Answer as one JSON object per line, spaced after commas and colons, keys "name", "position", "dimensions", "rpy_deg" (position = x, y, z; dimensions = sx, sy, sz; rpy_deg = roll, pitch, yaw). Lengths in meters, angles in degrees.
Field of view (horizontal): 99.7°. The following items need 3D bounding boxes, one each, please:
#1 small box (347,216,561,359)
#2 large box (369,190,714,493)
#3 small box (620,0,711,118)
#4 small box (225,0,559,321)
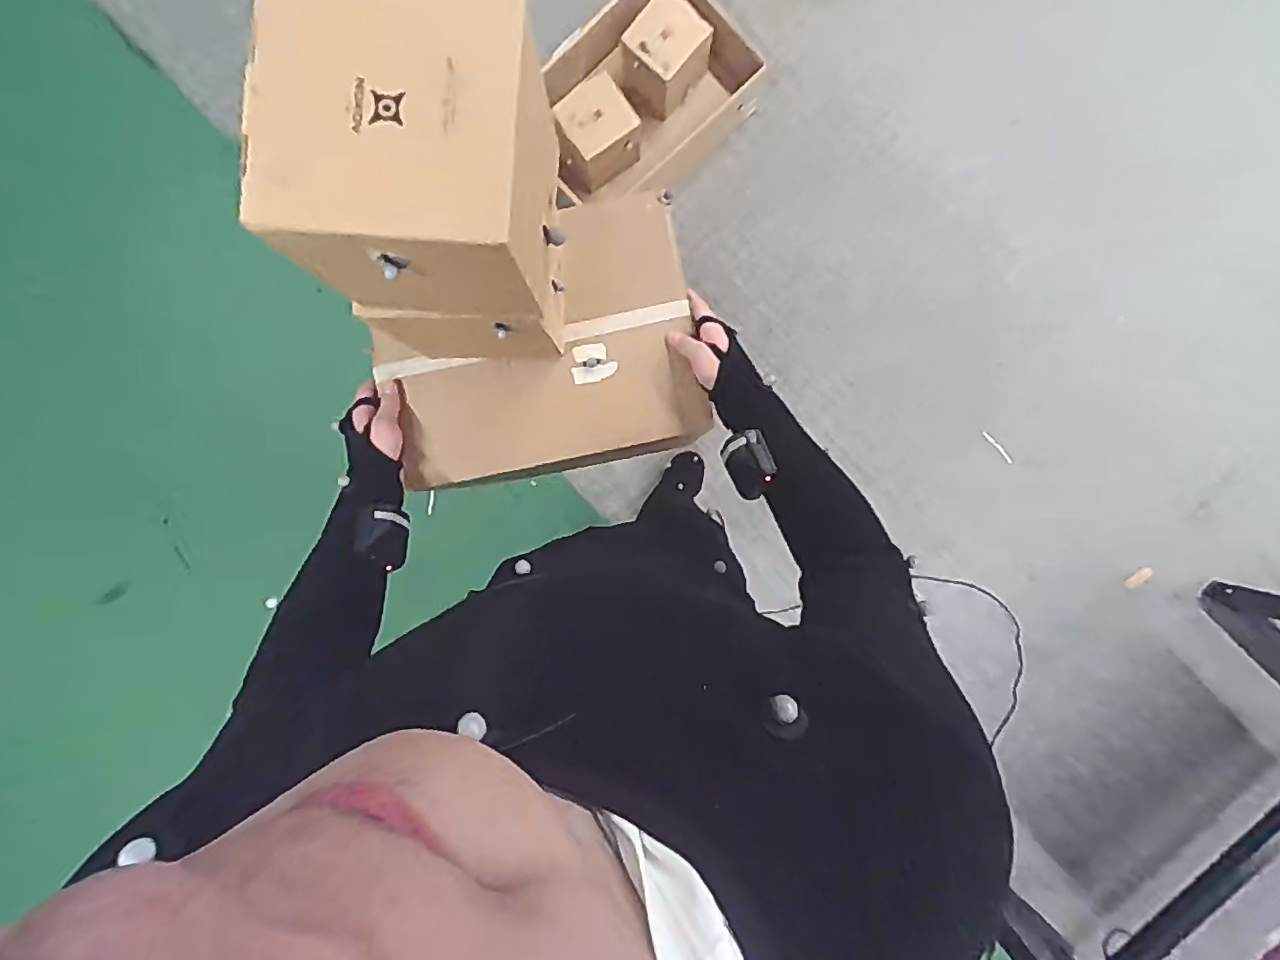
{"name": "small box", "position": [-0.185, -0.231, 0.584], "dimensions": [0.179, 0.176, 0.168], "rpy_deg": [0, 89, 0]}
{"name": "large box", "position": [-0.134, -0.174, 0.827], "dimensions": [0.408, 0.320, 0.320], "rpy_deg": [-12, 91, -1]}
{"name": "small box", "position": [0.063, -1.131, 1.443], "dimensions": [0.168, 0.176, 0.179], "rpy_deg": [43, 93, -1]}
{"name": "small box", "position": [-0.168, -0.232, 0.420], "dimensions": [0.179, 0.176, 0.168], "rpy_deg": [5, 90, -1]}
